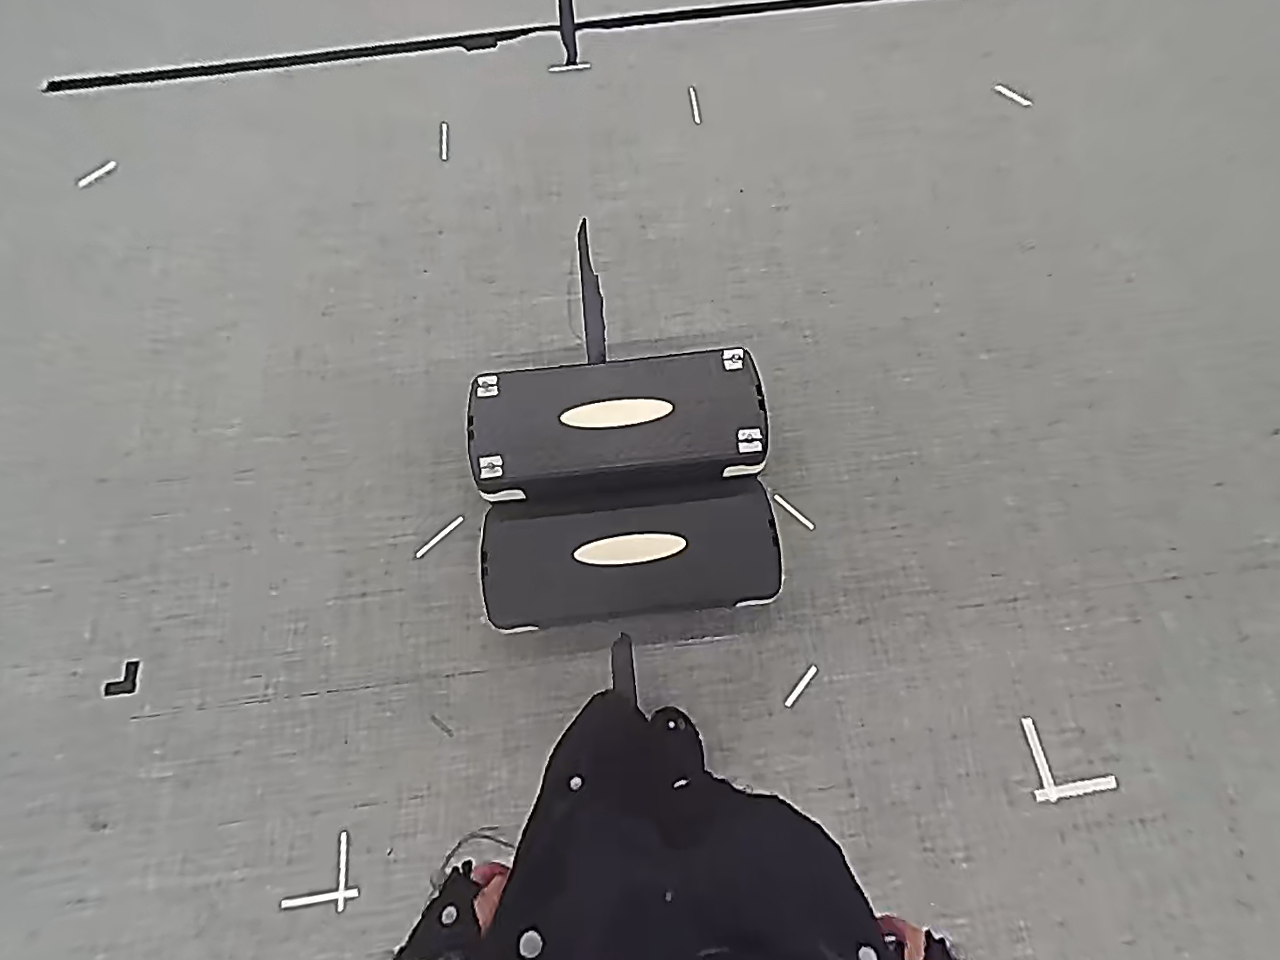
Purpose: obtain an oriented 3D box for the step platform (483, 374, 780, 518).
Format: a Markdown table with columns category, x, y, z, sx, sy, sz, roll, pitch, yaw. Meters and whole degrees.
| category | x | y | z | sx | sy | sz | roll | pitch | yaw |
| --- | --- | --- | --- | --- | --- | --- | --- | --- | --- |
| step platform | -0.019 | -0.081 | 1.290 | 0.684 | 0.204 | 0.286 | -2 | 70 | 0 |
